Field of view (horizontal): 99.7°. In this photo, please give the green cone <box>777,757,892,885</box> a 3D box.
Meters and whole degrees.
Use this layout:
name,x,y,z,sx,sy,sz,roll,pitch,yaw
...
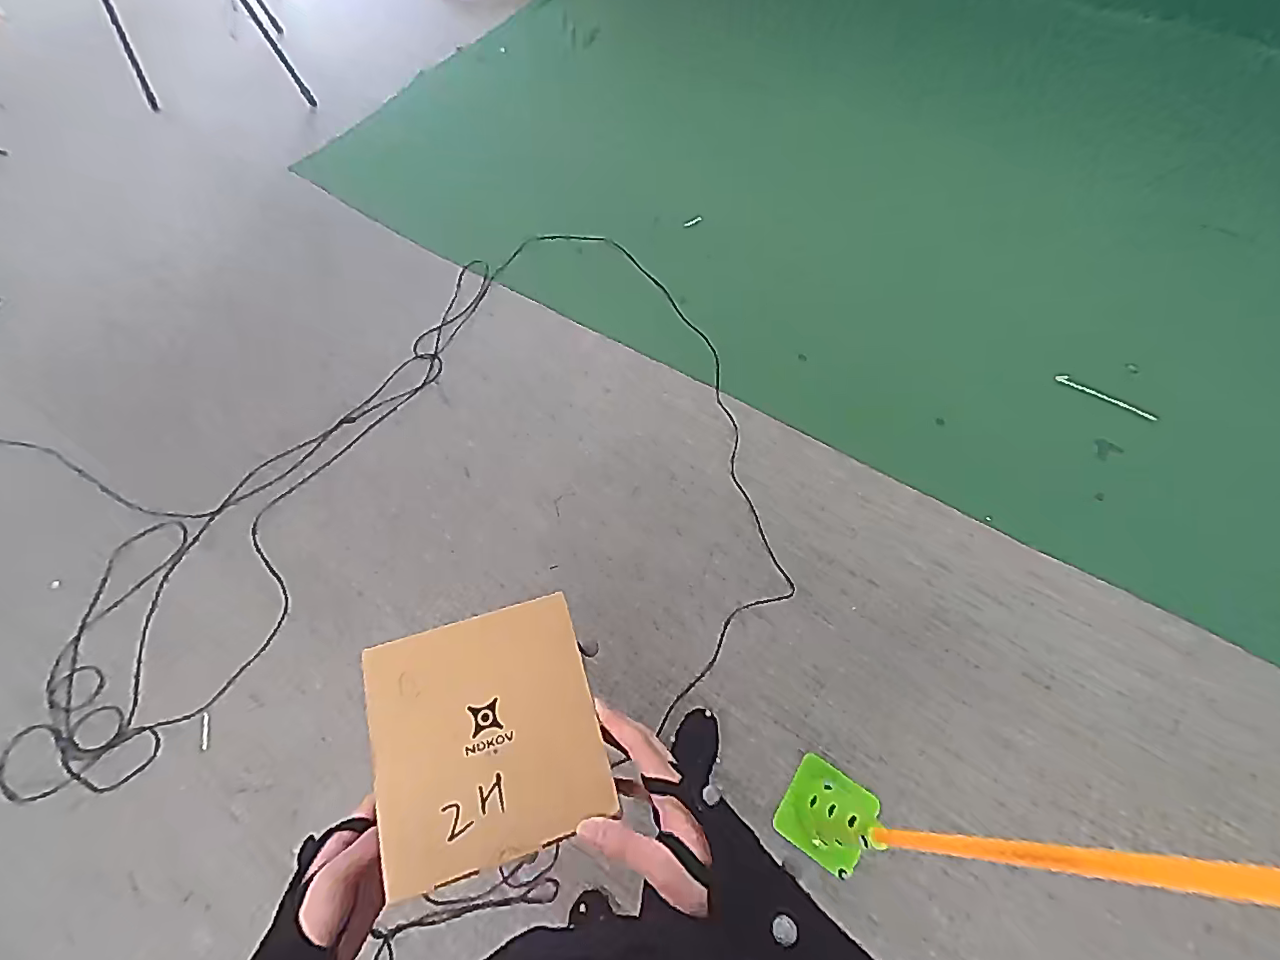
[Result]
name,x,y,z,sx,sy,sz,roll,pitch,yaw
green cone,0.442,0.714,1.117,0.202,0.368,0.200,30,68,17
